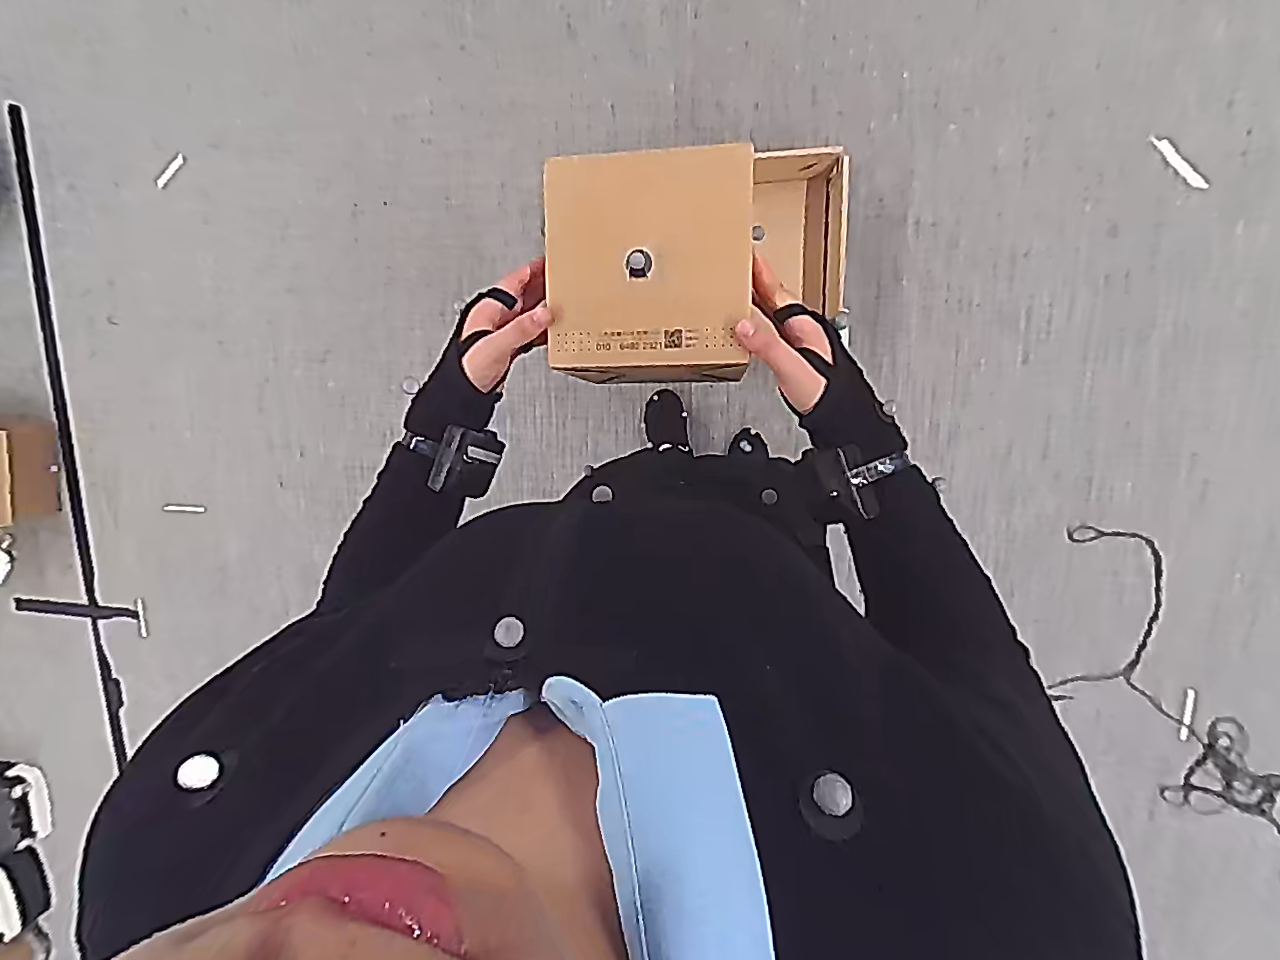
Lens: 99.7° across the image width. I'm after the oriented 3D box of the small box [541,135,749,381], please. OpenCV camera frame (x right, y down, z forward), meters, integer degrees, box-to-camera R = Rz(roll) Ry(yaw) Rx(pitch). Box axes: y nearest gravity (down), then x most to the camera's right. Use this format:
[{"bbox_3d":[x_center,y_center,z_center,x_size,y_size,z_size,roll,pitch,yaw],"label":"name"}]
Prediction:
[{"bbox_3d":[0.016,-0.185,0.506,0.168,0.179,0.176,1,96,8],"label":"small box"}]
